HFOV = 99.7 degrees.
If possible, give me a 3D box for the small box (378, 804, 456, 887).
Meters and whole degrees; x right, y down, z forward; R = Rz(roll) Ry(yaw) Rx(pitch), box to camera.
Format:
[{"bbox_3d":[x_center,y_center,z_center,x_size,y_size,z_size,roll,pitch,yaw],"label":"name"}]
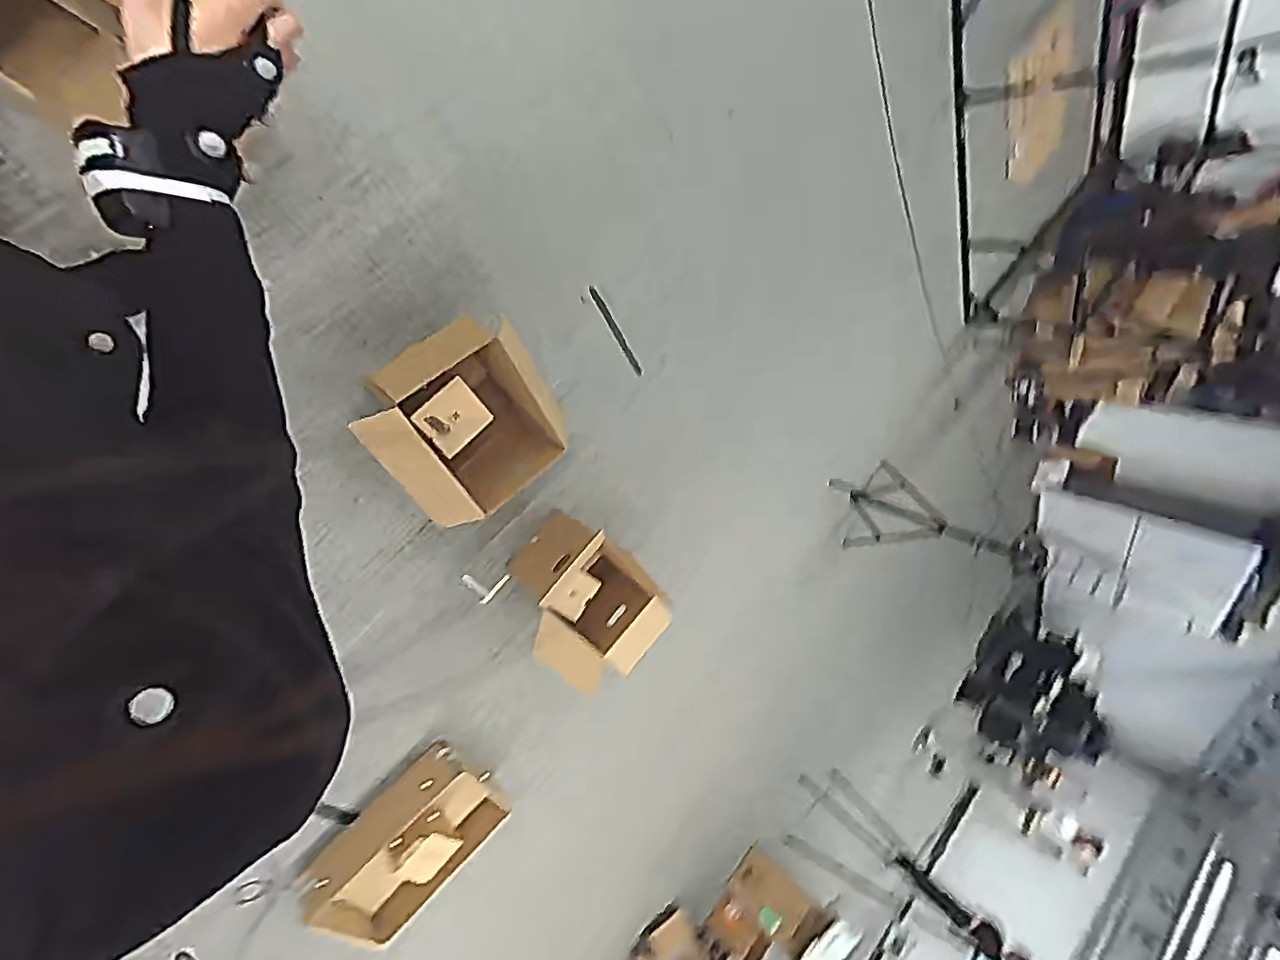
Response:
[{"bbox_3d":[-0.806,1.310,1.946,0.168,0.176,0.179,-45,132,-16],"label":"small box"}]
